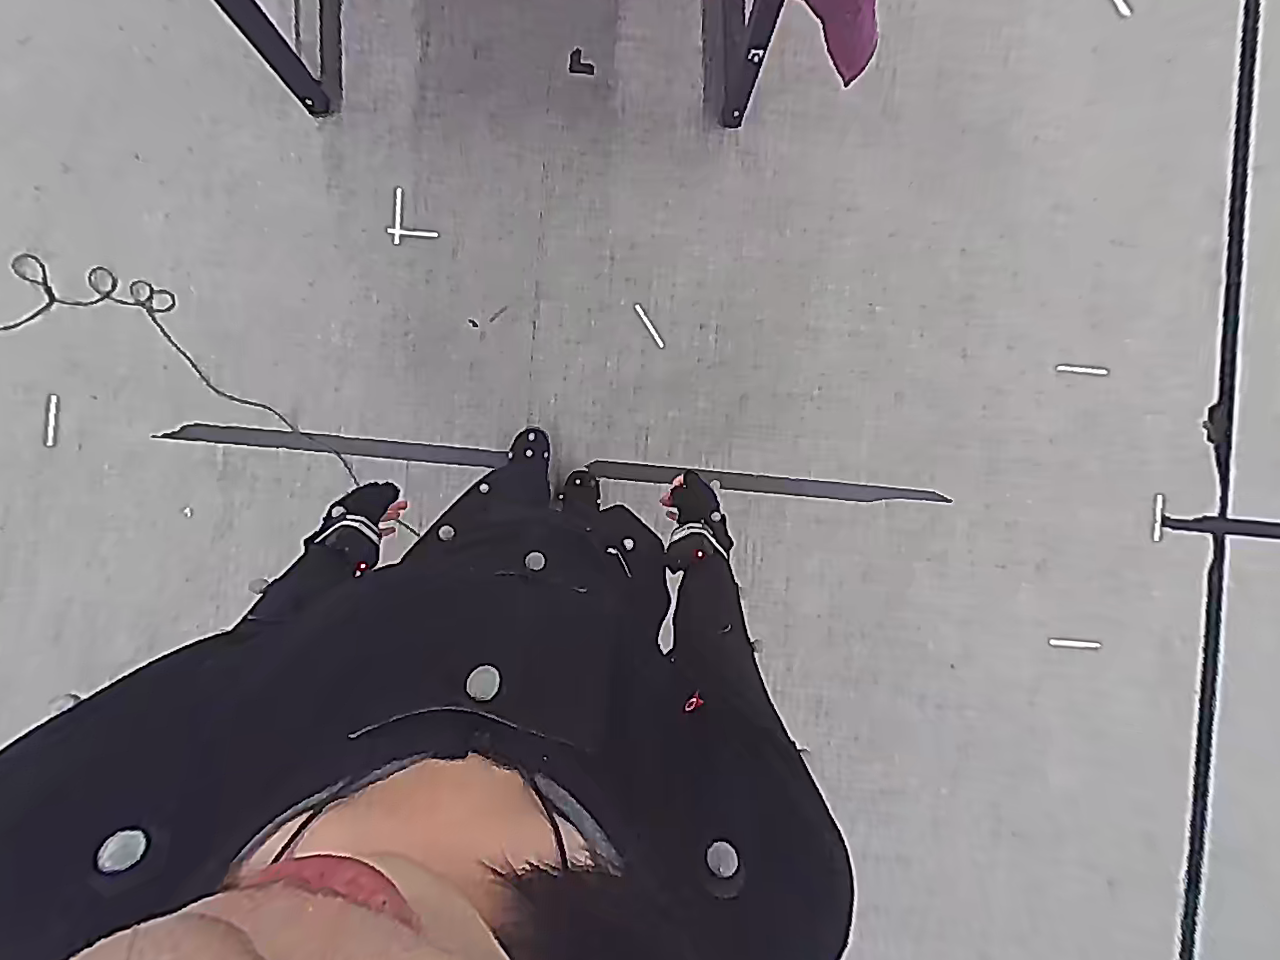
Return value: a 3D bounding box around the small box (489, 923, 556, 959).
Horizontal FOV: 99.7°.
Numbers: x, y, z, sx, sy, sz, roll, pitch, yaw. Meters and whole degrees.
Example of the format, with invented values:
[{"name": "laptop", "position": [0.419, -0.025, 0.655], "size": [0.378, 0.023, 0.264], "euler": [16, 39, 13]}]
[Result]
[{"name": "small box", "position": [-0.314, 1.325, 1.425], "size": [0.168, 0.176, 0.179], "euler": [3, 89, -3]}]
